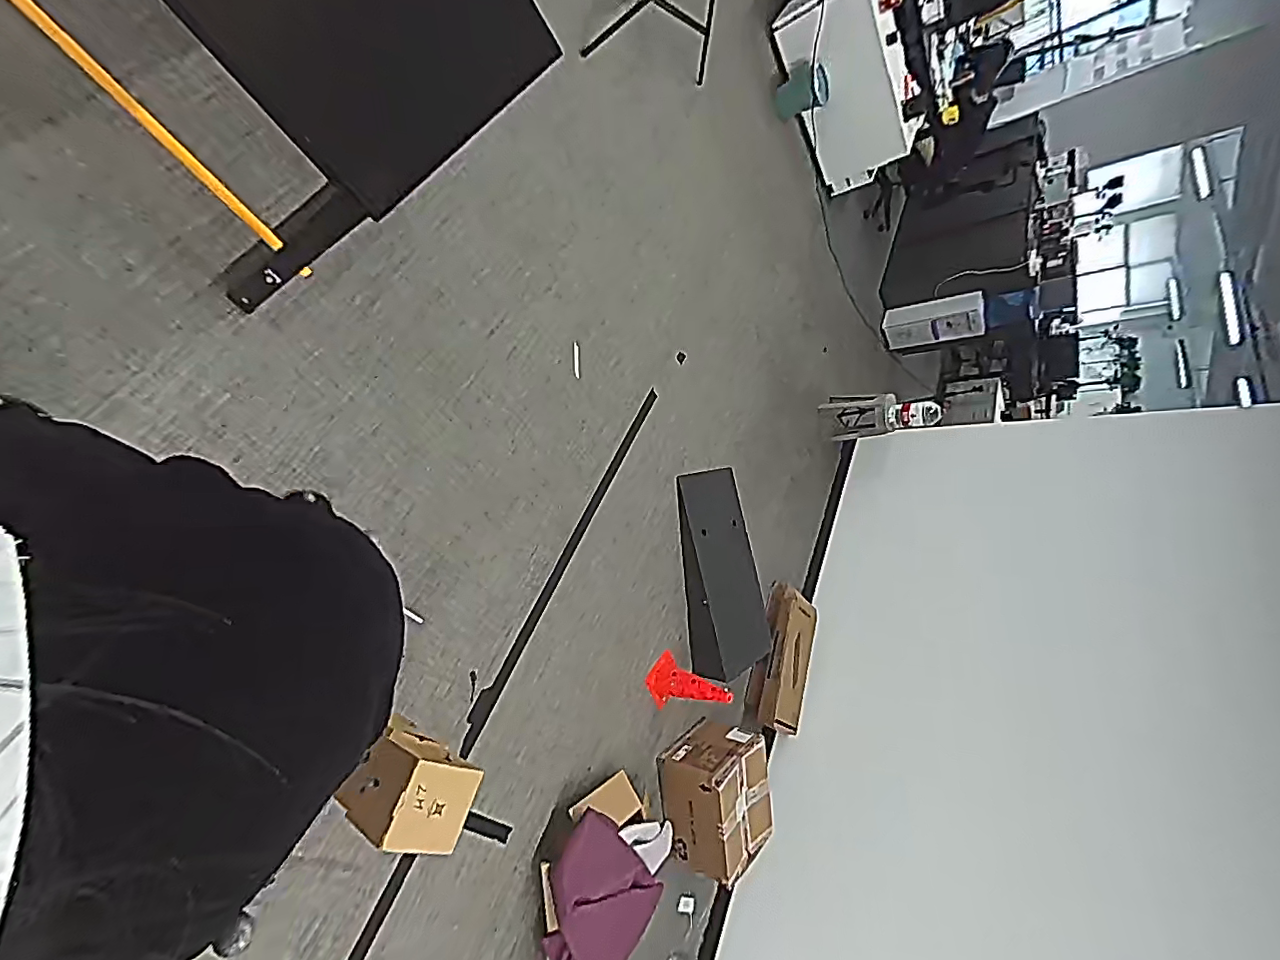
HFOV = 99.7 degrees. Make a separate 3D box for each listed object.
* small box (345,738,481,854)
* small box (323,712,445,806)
[{"bbox_3d":[-0.488,0.676,1.165,0.179,0.176,0.168,41,59,-41],"label":"small box"},{"bbox_3d":[-0.607,0.674,1.279,0.168,0.176,0.179,45,57,-39],"label":"small box"}]
